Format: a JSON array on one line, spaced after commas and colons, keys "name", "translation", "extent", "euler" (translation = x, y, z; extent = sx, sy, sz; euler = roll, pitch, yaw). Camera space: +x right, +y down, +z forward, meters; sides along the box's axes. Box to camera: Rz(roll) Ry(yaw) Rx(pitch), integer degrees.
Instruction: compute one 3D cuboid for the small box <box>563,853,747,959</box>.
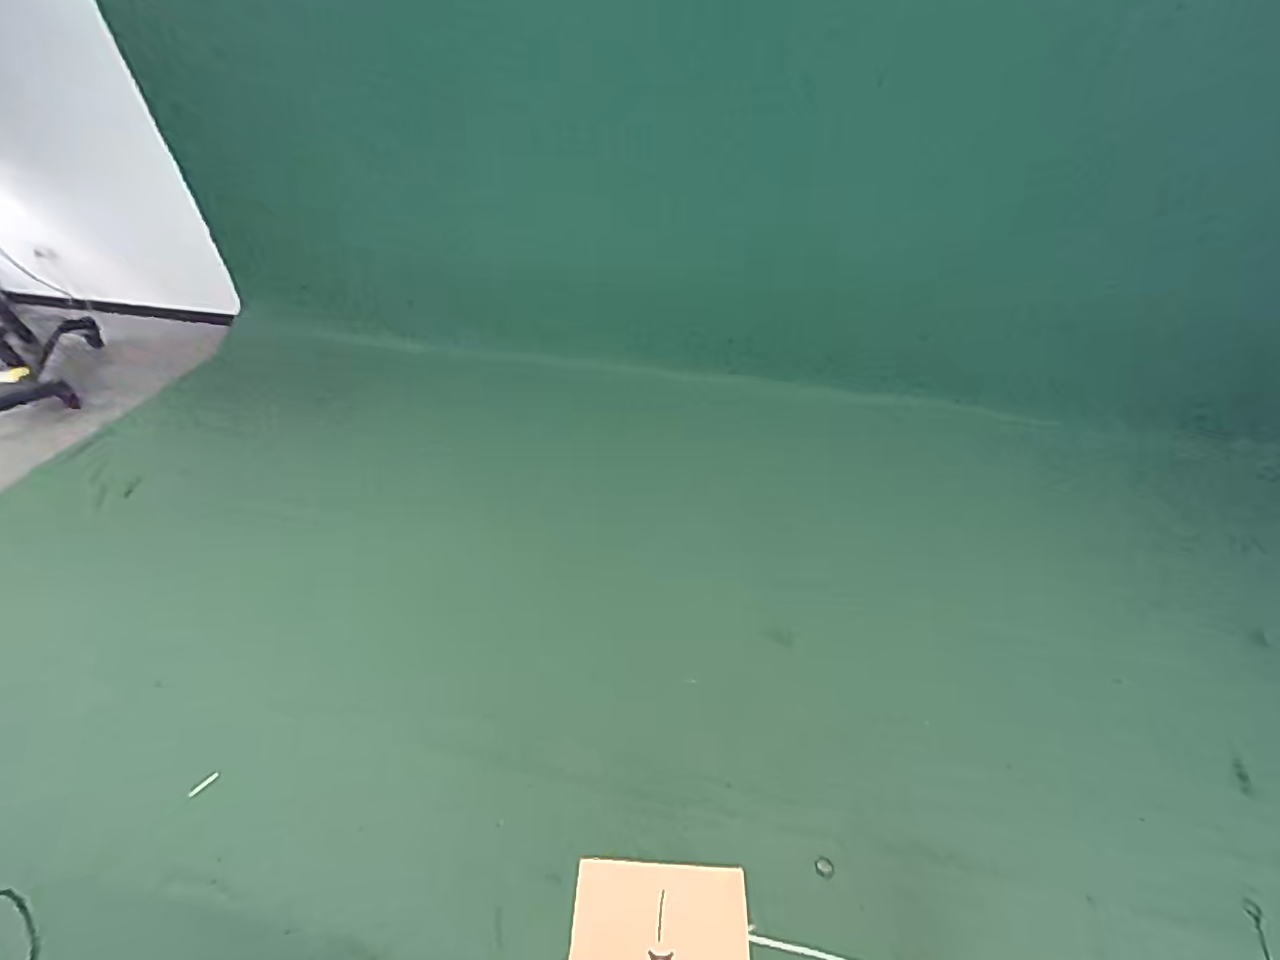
[{"name": "small box", "translation": [0.014, 0.491, 0.524], "extent": [0.168, 0.176, 0.179], "euler": [2, 42, 2]}]
